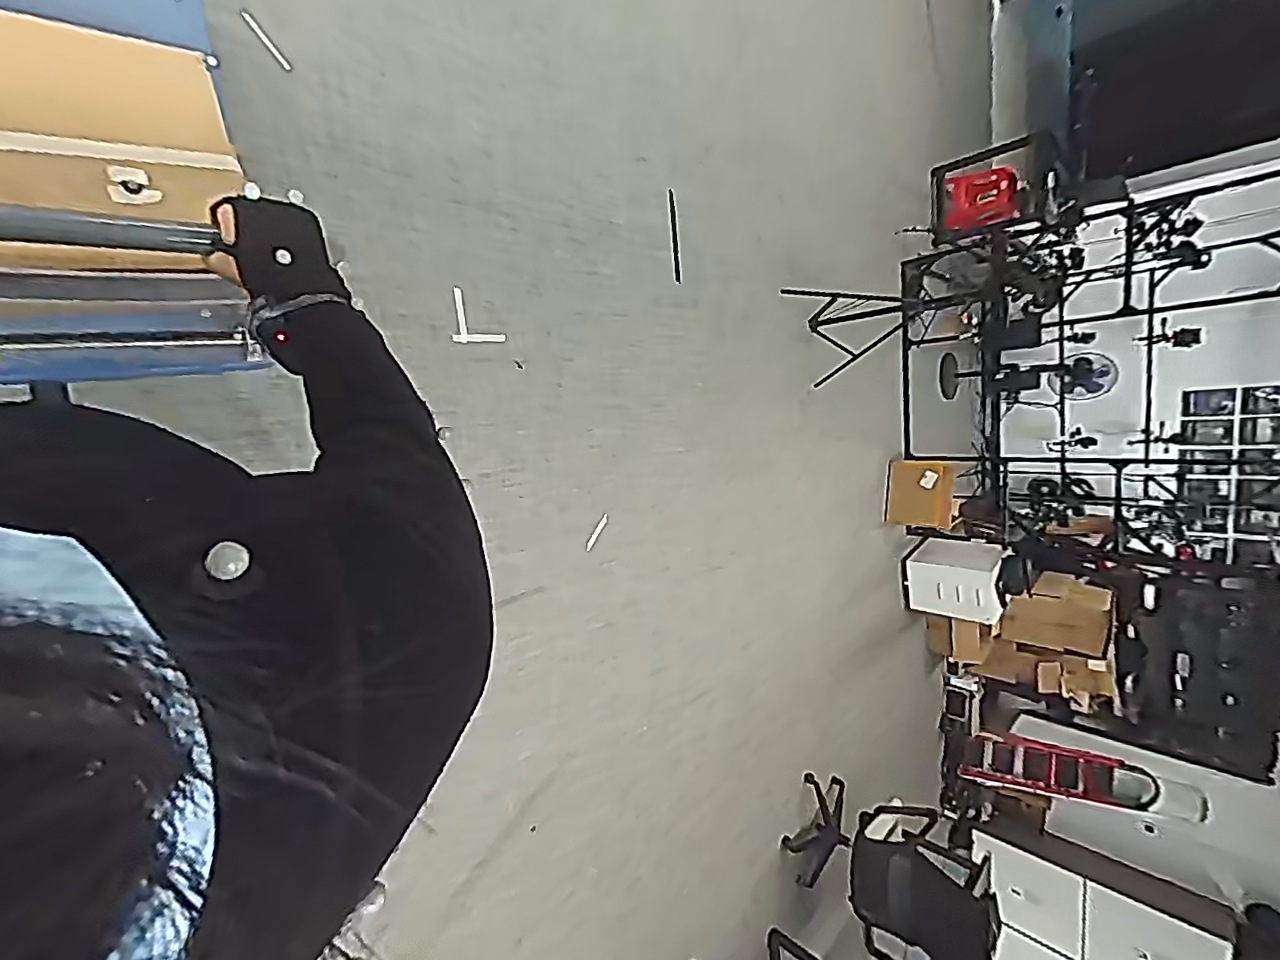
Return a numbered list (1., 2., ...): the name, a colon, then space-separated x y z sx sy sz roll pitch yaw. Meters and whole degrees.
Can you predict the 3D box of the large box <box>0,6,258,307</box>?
1. large box: -0.884 -0.454 0.817 0.408 0.320 0.320 -21 107 -43
